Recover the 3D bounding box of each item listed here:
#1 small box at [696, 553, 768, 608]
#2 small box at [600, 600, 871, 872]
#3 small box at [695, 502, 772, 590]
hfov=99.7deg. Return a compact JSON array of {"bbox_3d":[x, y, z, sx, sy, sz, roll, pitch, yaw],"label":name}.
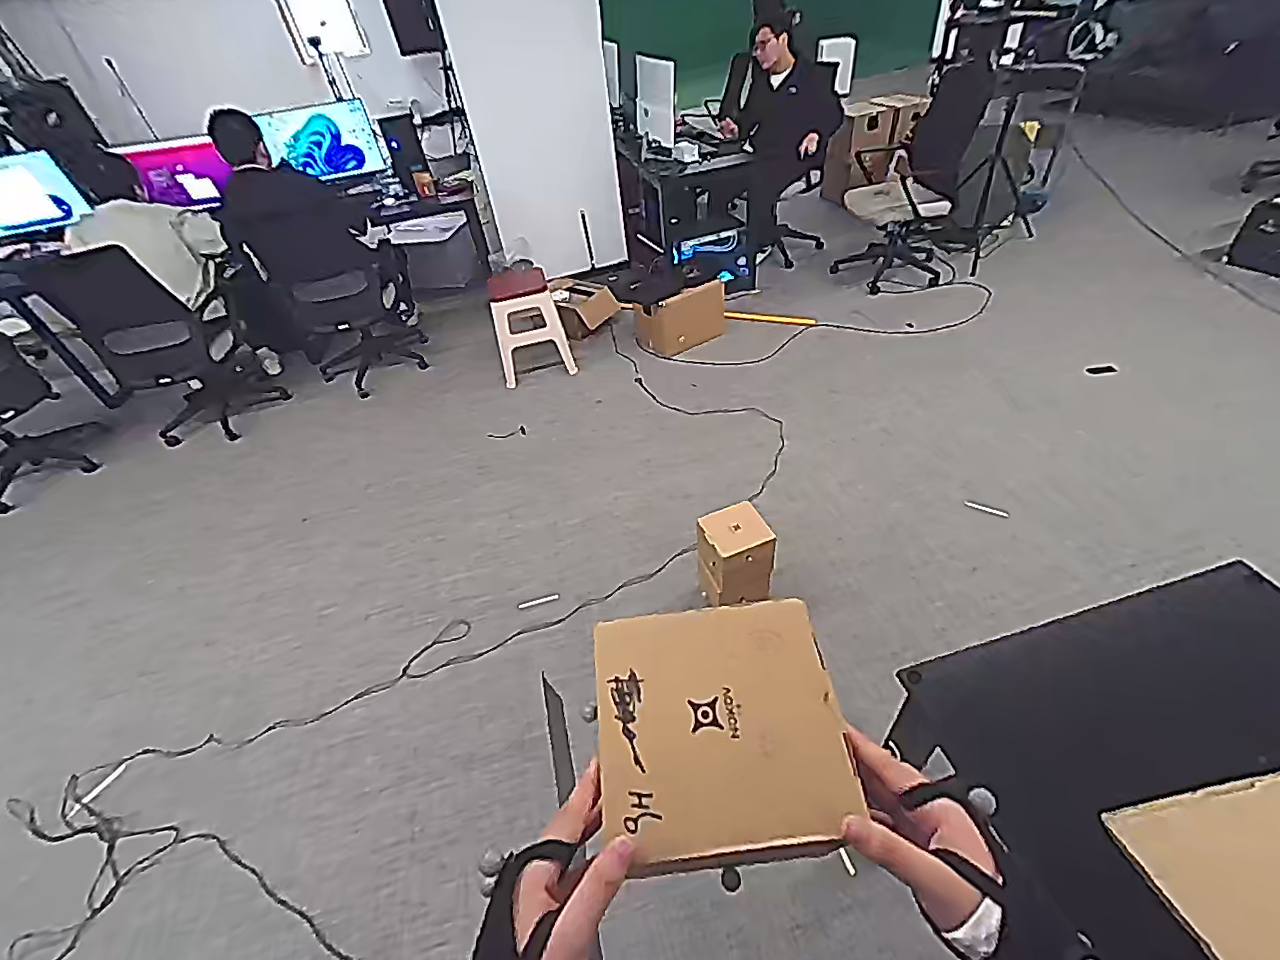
[{"bbox_3d":[0.290,0.321,1.731,0.179,0.176,0.168,-18,43,-9],"label":"small box"},{"bbox_3d":[0.062,0.221,0.460,0.179,0.176,0.168,-6,50,-2],"label":"small box"},{"bbox_3d":[0.278,0.201,1.622,0.179,0.176,0.168,-19,44,-12],"label":"small box"}]
